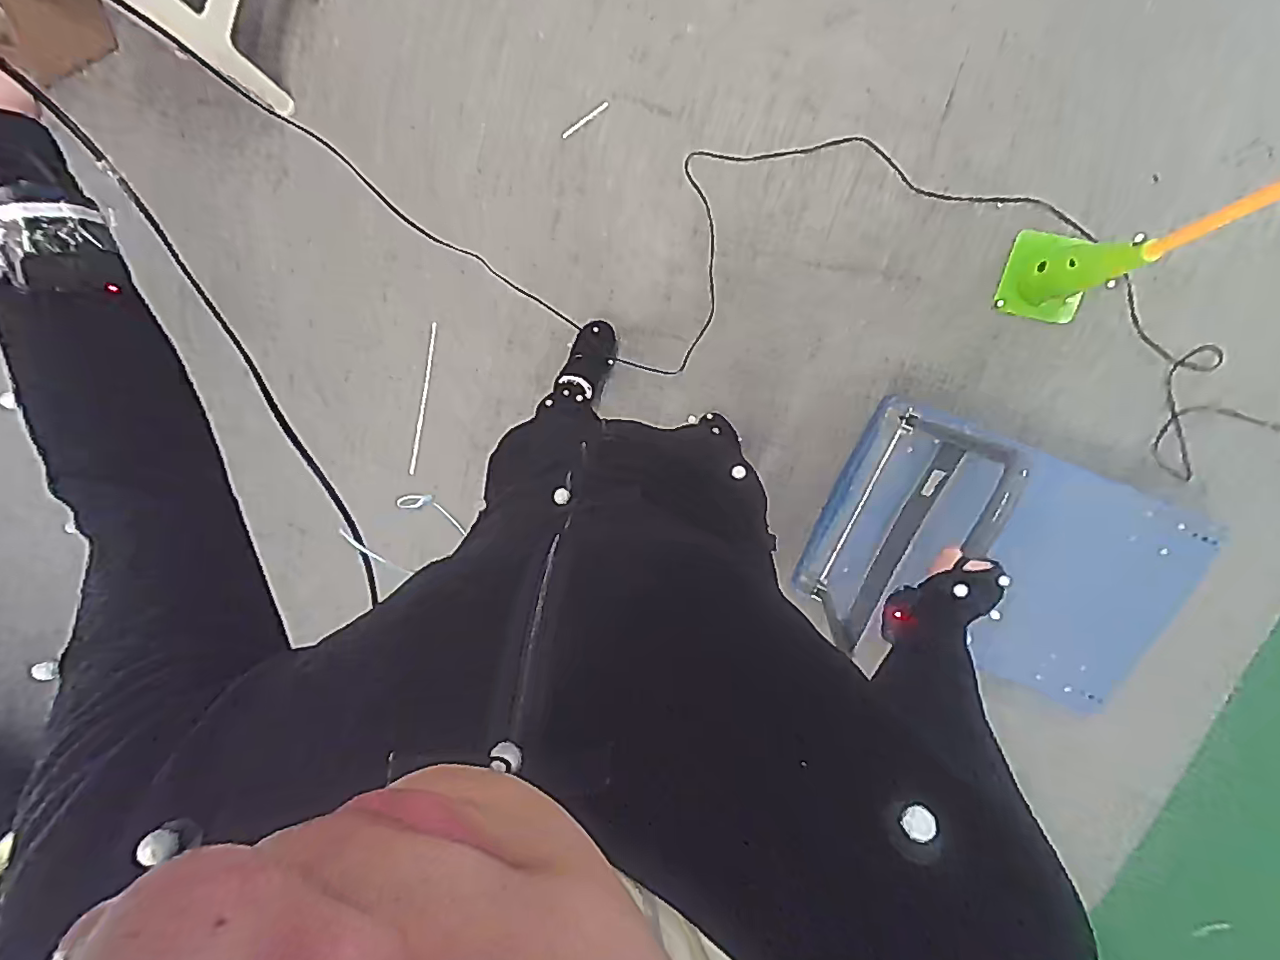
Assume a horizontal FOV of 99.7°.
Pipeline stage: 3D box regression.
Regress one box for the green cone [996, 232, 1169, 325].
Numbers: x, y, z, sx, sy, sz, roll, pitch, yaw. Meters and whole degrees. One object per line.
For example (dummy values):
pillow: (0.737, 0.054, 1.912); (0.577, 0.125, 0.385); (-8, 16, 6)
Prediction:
green cone: (1.002, -0.473, 1.193); (0.200, 0.368, 0.202); (13, 102, 4)
